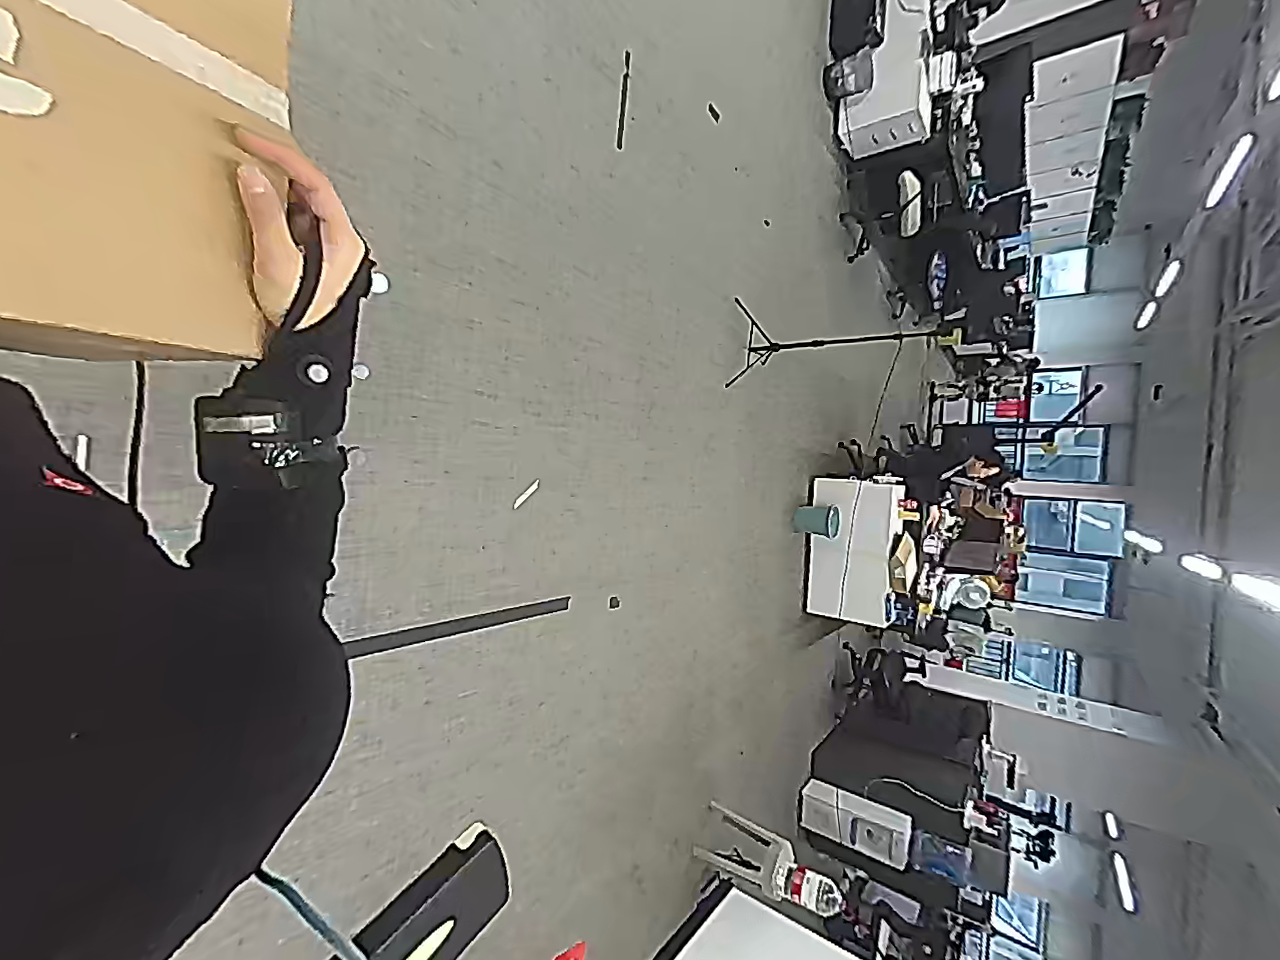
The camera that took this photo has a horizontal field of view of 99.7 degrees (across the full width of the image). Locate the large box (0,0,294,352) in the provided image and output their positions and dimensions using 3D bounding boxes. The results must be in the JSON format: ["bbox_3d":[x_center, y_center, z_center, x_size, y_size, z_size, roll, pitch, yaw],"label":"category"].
[{"bbox_3d":[-0.461,-0.251,0.256,0.408,0.320,0.320,-1,98,-61],"label":"large box"}]
